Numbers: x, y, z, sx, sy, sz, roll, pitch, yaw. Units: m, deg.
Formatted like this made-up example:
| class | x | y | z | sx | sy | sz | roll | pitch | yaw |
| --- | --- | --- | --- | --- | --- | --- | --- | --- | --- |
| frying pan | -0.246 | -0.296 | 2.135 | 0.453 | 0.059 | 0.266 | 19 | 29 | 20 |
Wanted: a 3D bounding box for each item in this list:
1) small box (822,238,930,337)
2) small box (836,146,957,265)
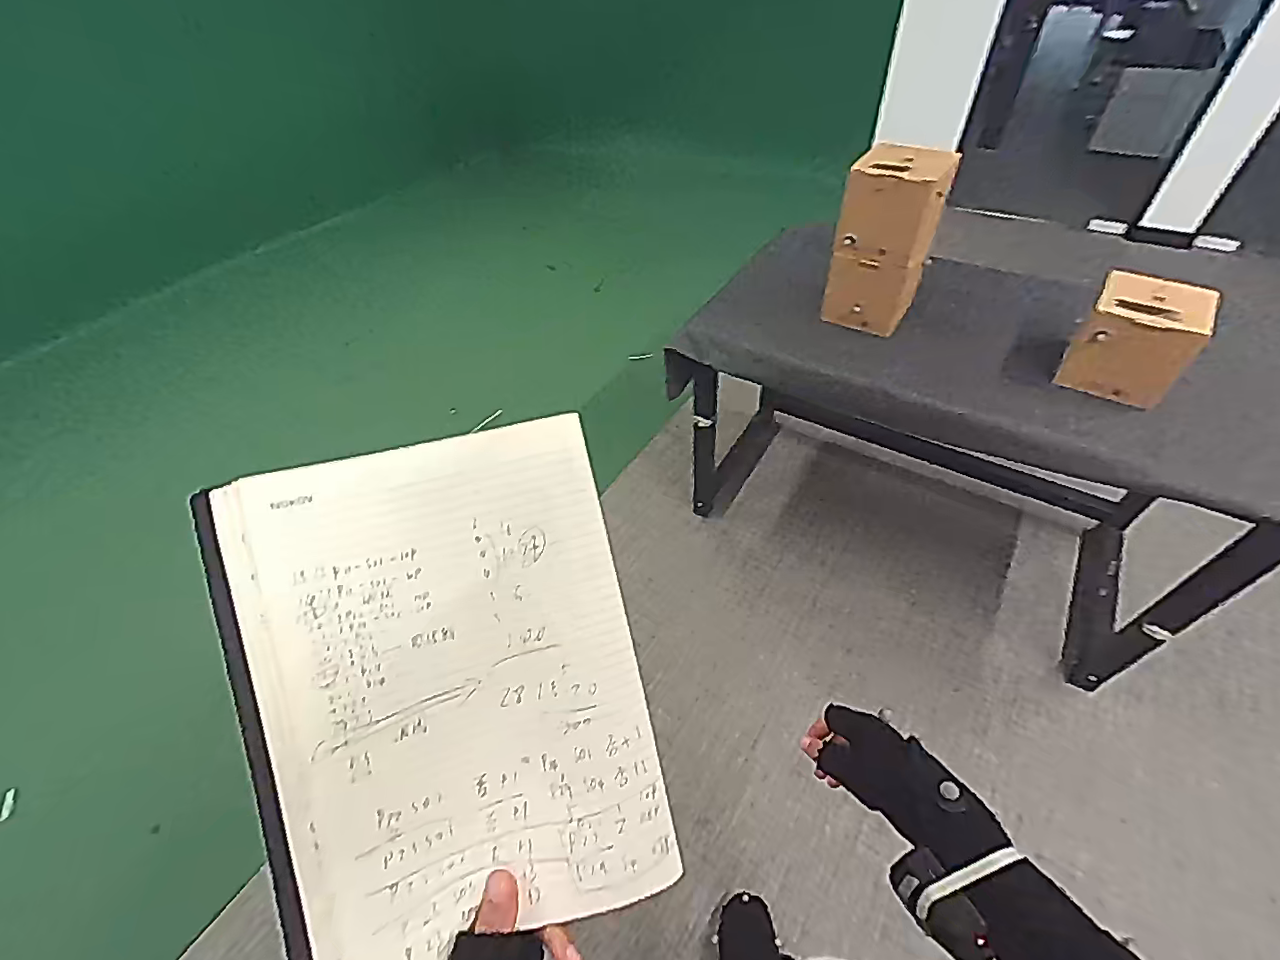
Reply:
| class | x | y | z | sx | sy | sz | roll | pitch | yaw |
| --- | --- | --- | --- | --- | --- | --- | --- | --- | --- |
| small box | 0.540 | -0.464 | 1.257 | 0.168 | 0.176 | 0.179 | 25 | 54 | 25 |
| small box | 0.530 | -0.576 | 1.139 | 0.168 | 0.176 | 0.179 | 27 | 54 | 25 |
